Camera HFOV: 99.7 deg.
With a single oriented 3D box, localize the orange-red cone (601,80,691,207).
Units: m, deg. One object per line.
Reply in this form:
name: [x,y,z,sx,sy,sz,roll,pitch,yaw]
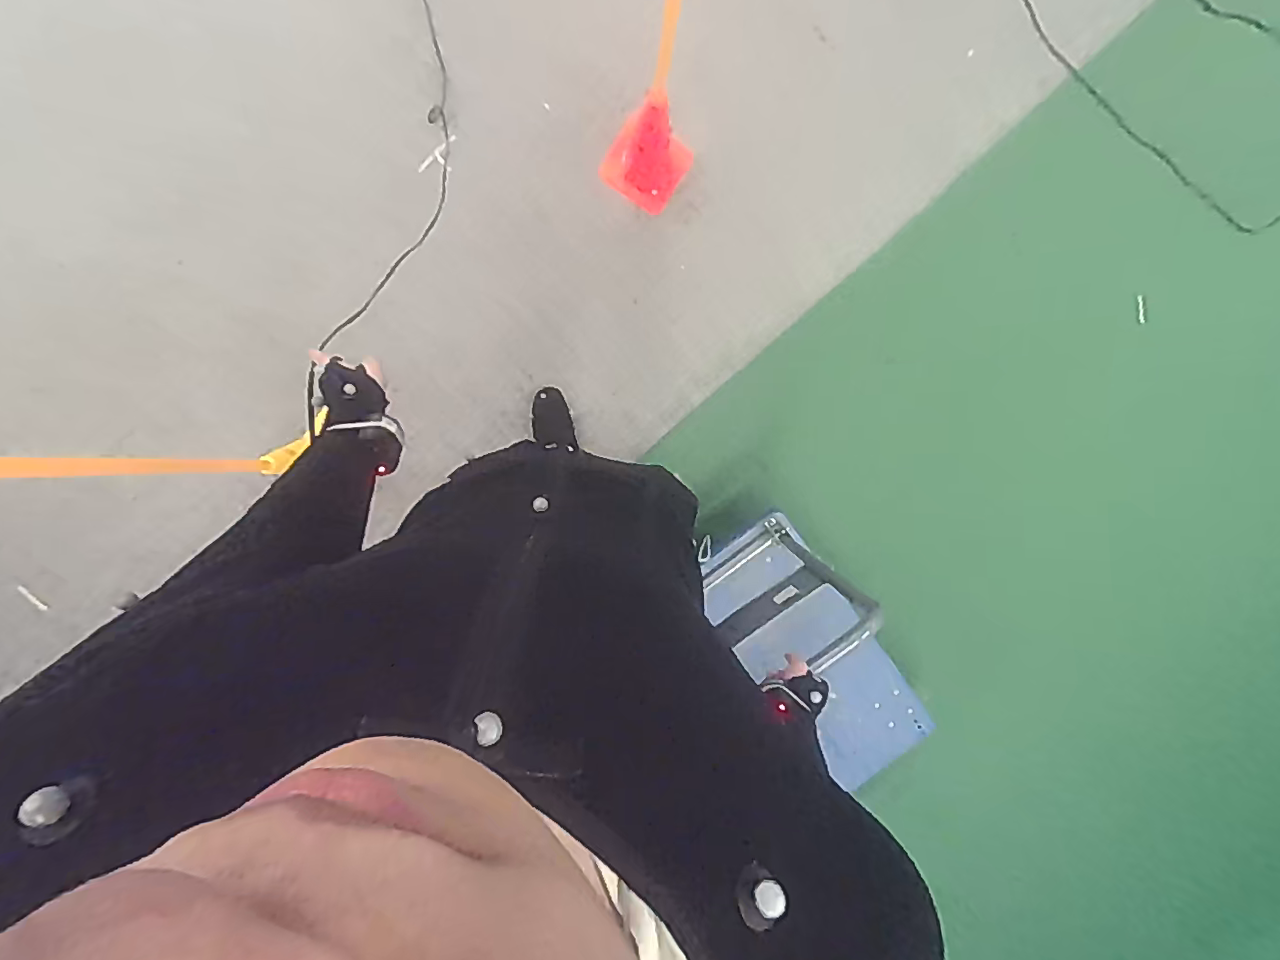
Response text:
orange-red cone: [0.031,-0.855,1.313,0.198,0.360,0.199,33,95,-9]
